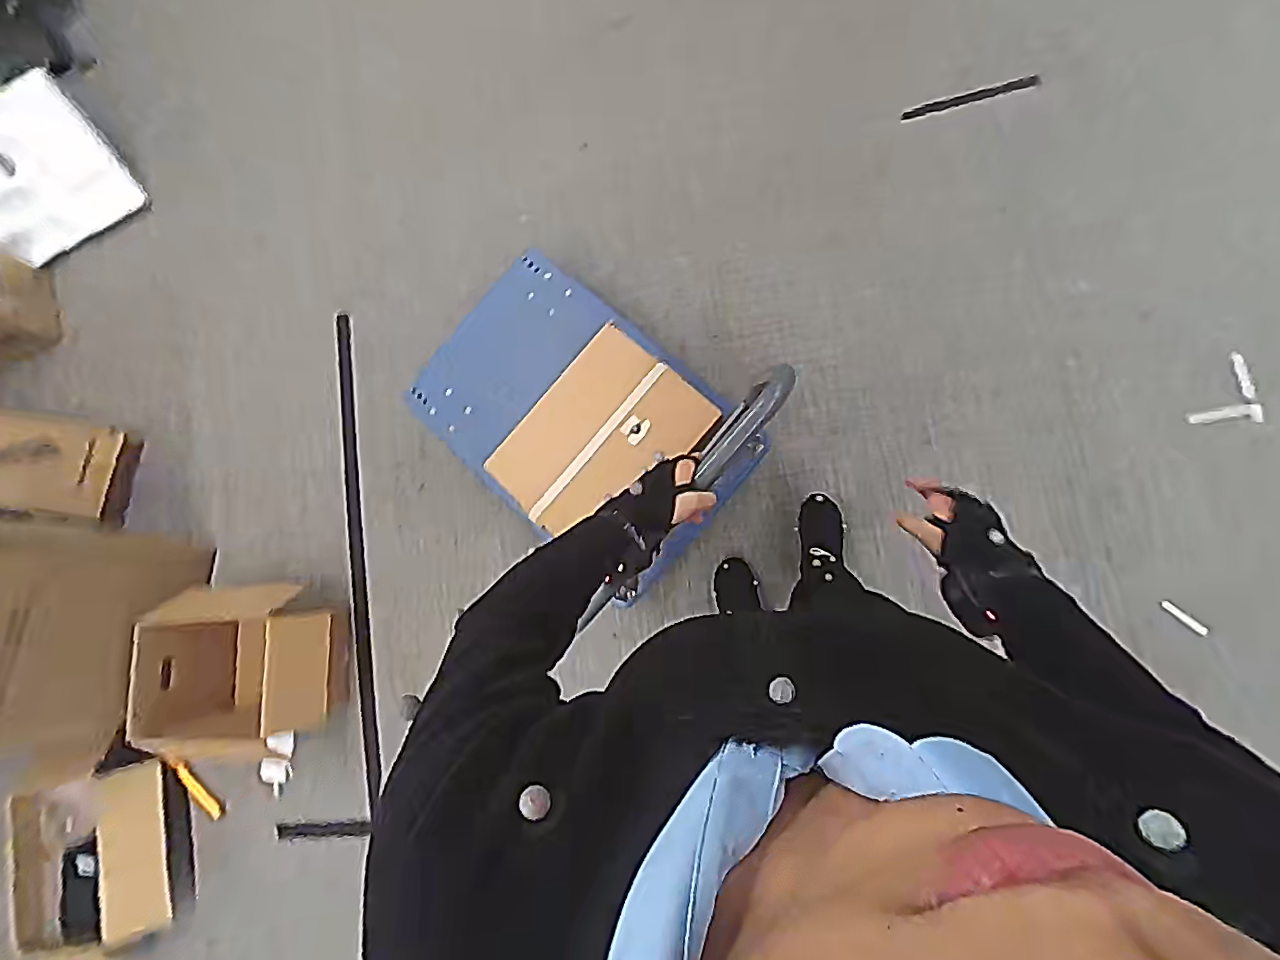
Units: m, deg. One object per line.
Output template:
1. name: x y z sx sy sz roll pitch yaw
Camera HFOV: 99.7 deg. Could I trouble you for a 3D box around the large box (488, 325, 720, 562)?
1. large box: -0.059 -0.059 1.242 0.320 0.320 0.408 41 90 12
